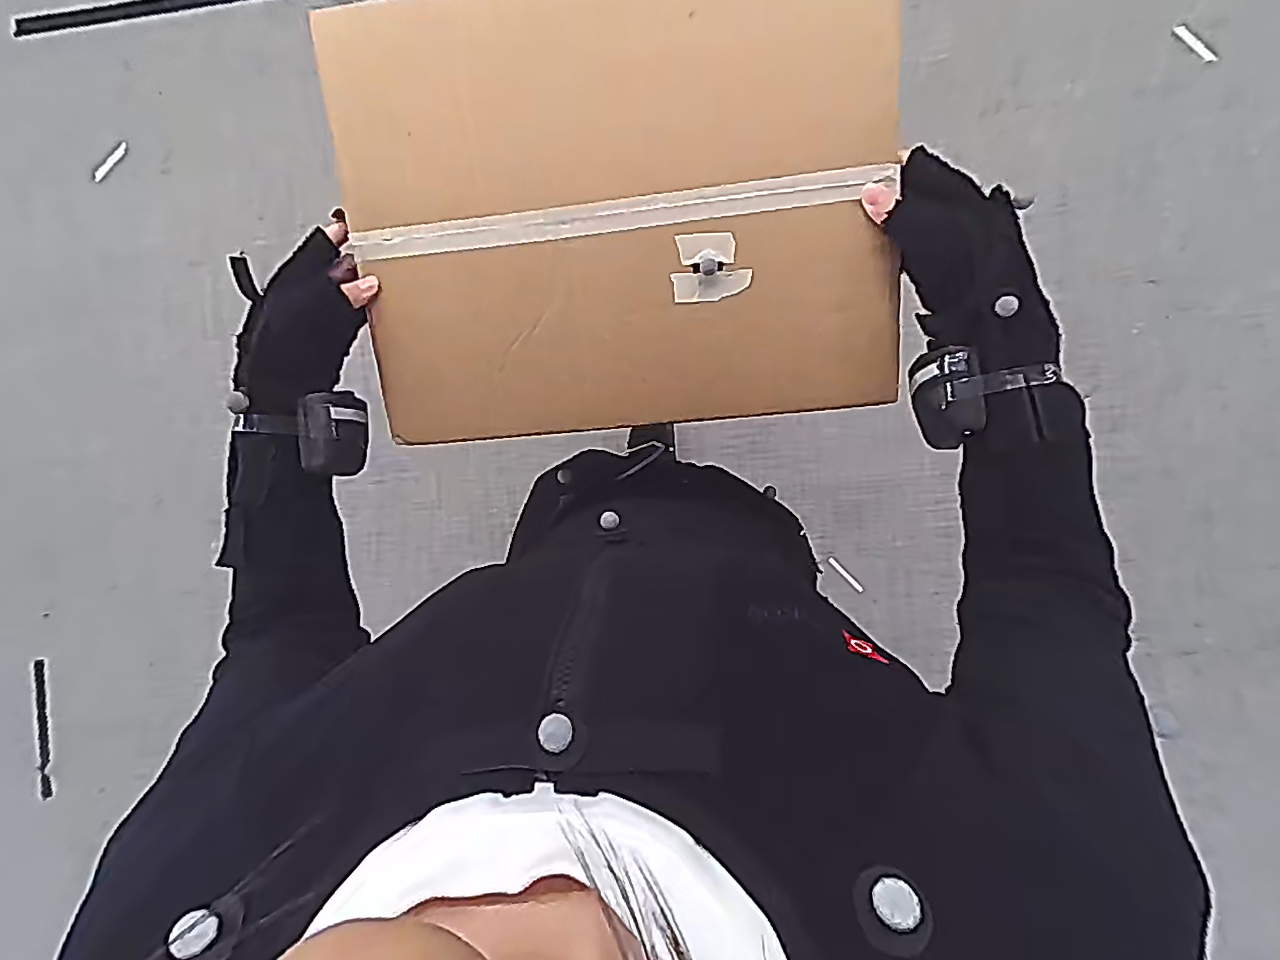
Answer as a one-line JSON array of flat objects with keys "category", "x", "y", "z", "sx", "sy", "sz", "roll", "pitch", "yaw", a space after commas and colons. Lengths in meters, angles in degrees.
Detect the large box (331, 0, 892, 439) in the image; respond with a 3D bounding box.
[{"category": "large box", "x": -0.008, "y": -0.236, "z": 0.556, "sx": 0.408, "sy": 0.320, "sz": 0.320, "roll": -5, "pitch": 103, "yaw": 4}]
